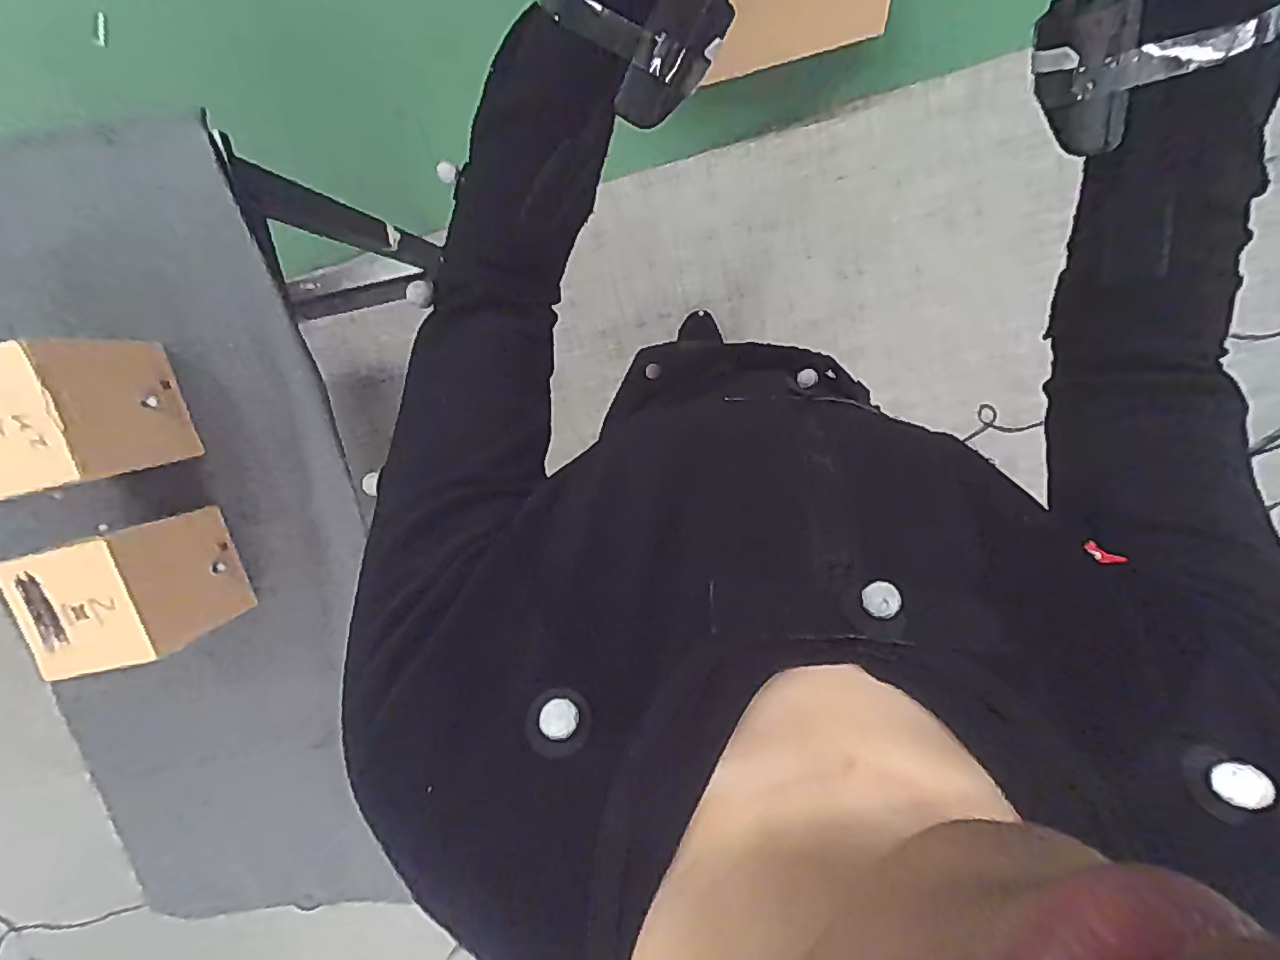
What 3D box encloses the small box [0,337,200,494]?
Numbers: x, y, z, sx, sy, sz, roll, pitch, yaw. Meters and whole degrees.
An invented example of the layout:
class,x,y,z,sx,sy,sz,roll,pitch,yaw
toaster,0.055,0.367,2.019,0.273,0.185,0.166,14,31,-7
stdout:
class,x,y,z,sx,sy,sz,roll,pitch,yaw
small box,-0.744,-0.084,0.708,0.179,0.176,0.168,-11,101,8
